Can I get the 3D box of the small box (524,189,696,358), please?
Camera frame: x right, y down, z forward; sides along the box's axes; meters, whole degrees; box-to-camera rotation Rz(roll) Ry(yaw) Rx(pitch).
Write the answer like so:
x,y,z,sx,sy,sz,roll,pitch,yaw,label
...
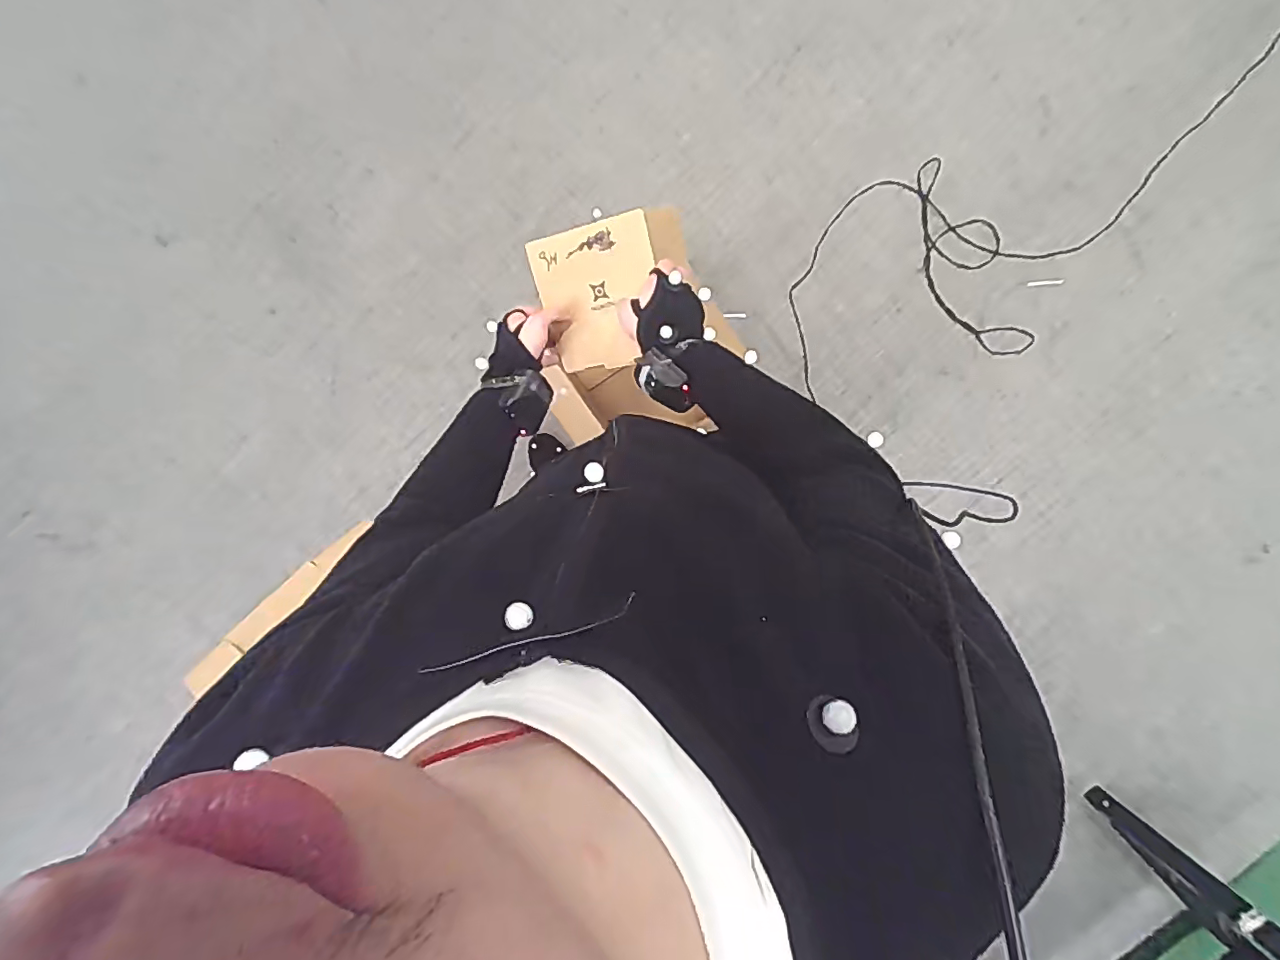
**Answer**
x,y,z,sx,sy,sz,roll,pitch,yaw,label
-0.029,-0.295,0.770,0.168,0.176,0.179,-8,116,23,small box
